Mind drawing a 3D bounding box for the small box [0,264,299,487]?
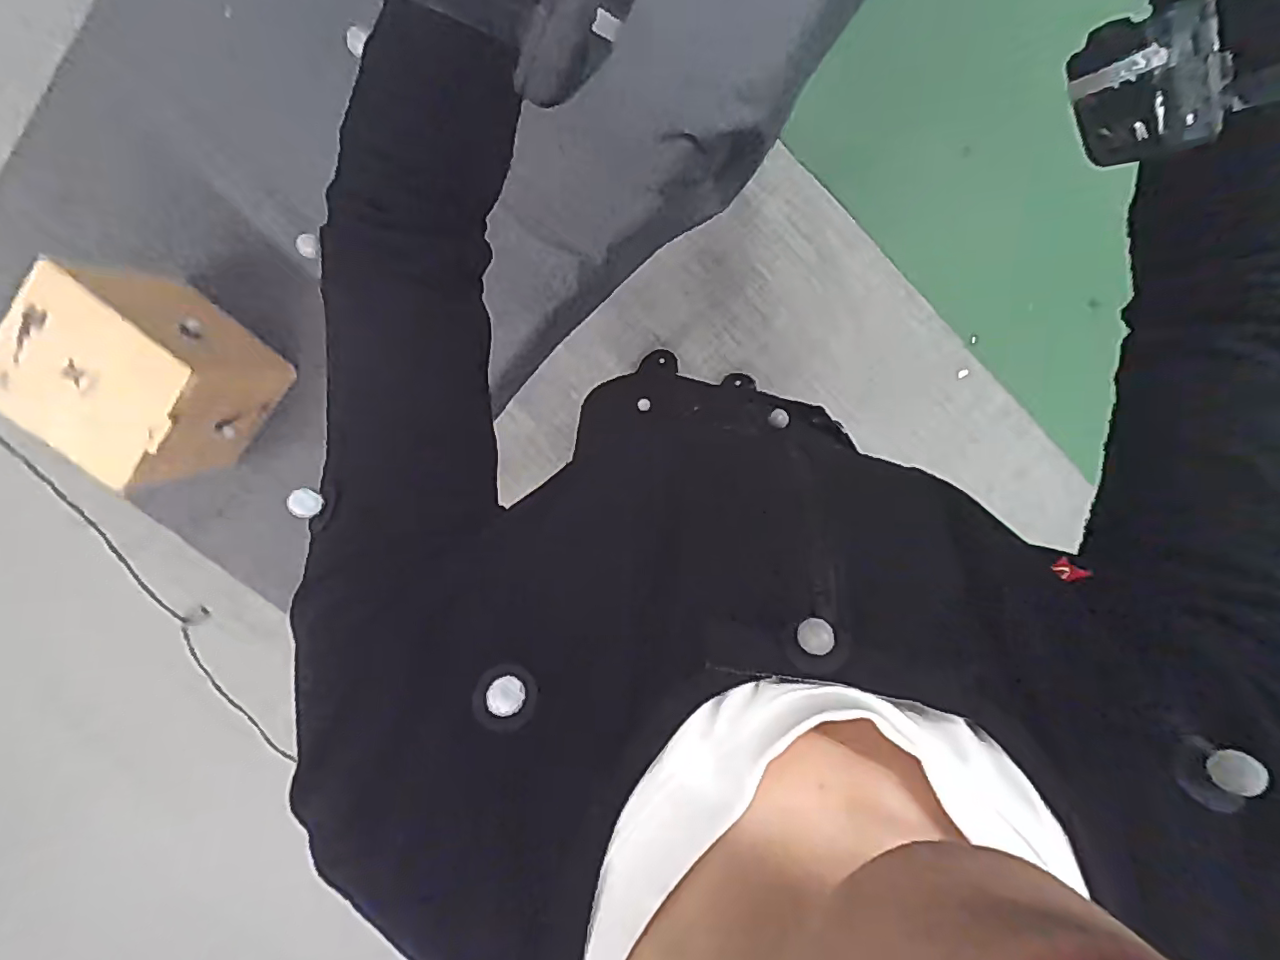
[{"bbox_3d":[-0.557,-0.123,0.639,0.179,0.176,0.168,39,101,-8],"label":"small box"}]
